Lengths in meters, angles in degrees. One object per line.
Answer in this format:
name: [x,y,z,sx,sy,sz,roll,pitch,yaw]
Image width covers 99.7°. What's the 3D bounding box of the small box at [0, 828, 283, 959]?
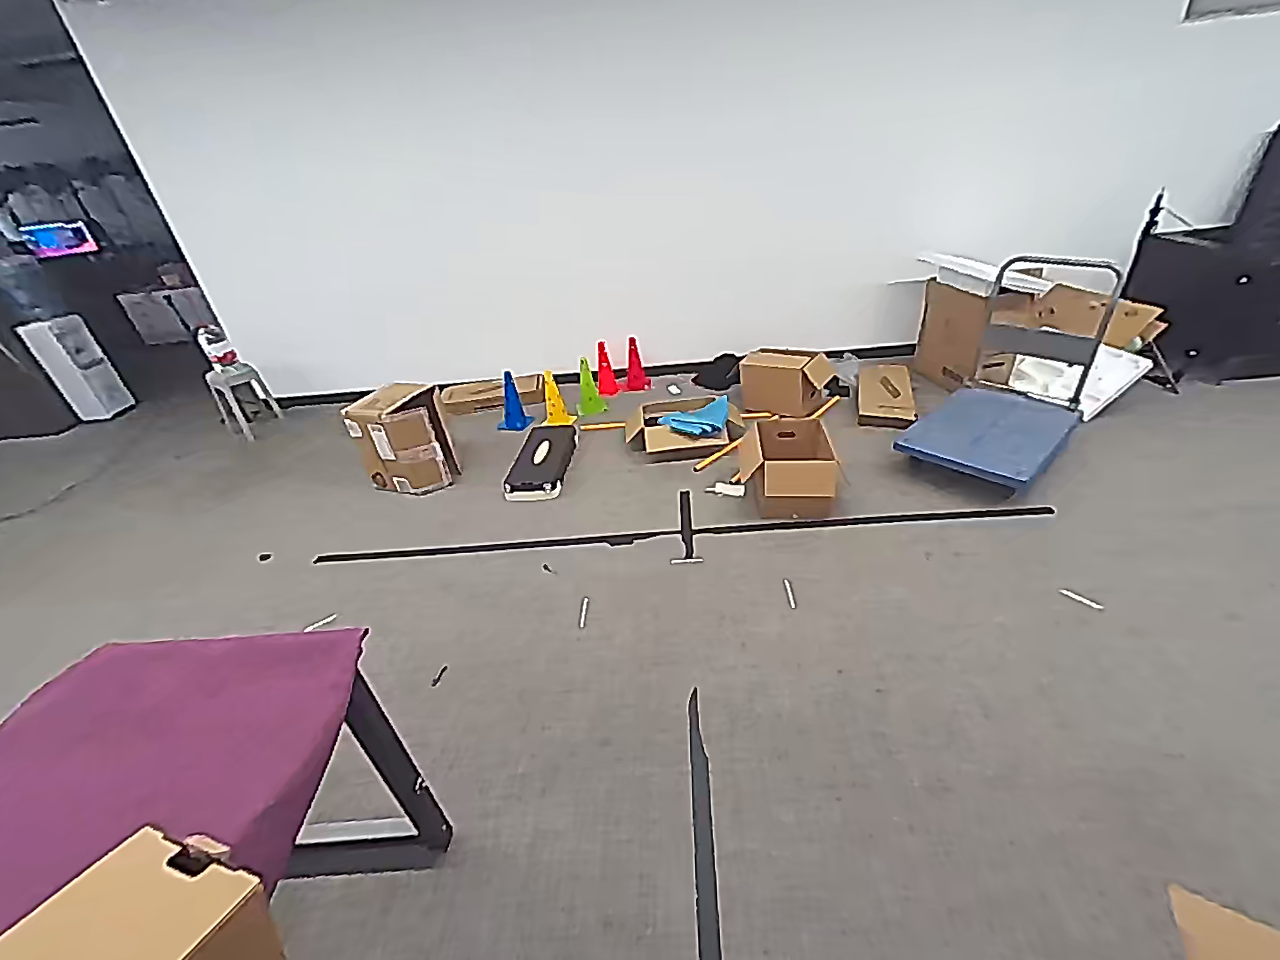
small box: [-0.448,0.464,0.473,0.168,0.176,0.179,7,19,18]
